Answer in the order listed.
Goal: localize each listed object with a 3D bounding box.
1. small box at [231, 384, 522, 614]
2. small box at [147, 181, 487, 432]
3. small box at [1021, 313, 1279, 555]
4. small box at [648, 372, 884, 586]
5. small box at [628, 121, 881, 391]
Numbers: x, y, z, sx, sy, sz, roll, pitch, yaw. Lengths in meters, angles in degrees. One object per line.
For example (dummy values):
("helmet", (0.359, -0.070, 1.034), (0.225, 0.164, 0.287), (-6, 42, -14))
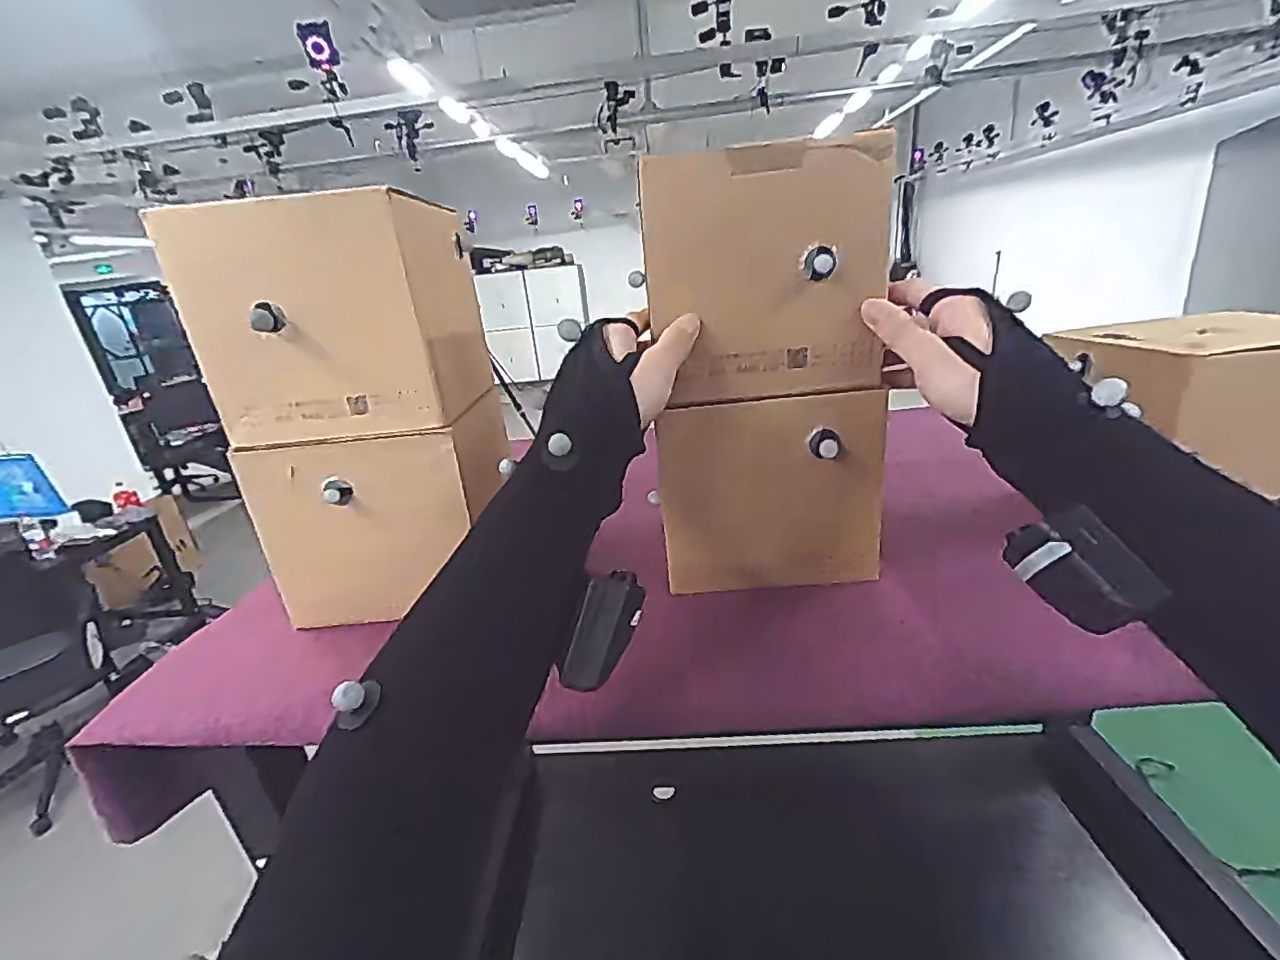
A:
("small box", (-0.226, 0.013, 0.517), (0.179, 0.176, 0.168), (-5, 21, 1))
("small box", (-0.241, -0.140, 0.464), (0.168, 0.176, 0.179), (-6, 20, 0))
("small box", (0.474, -0.046, 0.469), (0.179, 0.176, 0.168), (-4, 19, 5))
("small box", (0.105, -0.017, 0.502), (0.179, 0.176, 0.168), (-5, 21, 5))
("small box", (0.087, -0.172, 0.451), (0.168, 0.176, 0.179), (-3, 21, 5))
